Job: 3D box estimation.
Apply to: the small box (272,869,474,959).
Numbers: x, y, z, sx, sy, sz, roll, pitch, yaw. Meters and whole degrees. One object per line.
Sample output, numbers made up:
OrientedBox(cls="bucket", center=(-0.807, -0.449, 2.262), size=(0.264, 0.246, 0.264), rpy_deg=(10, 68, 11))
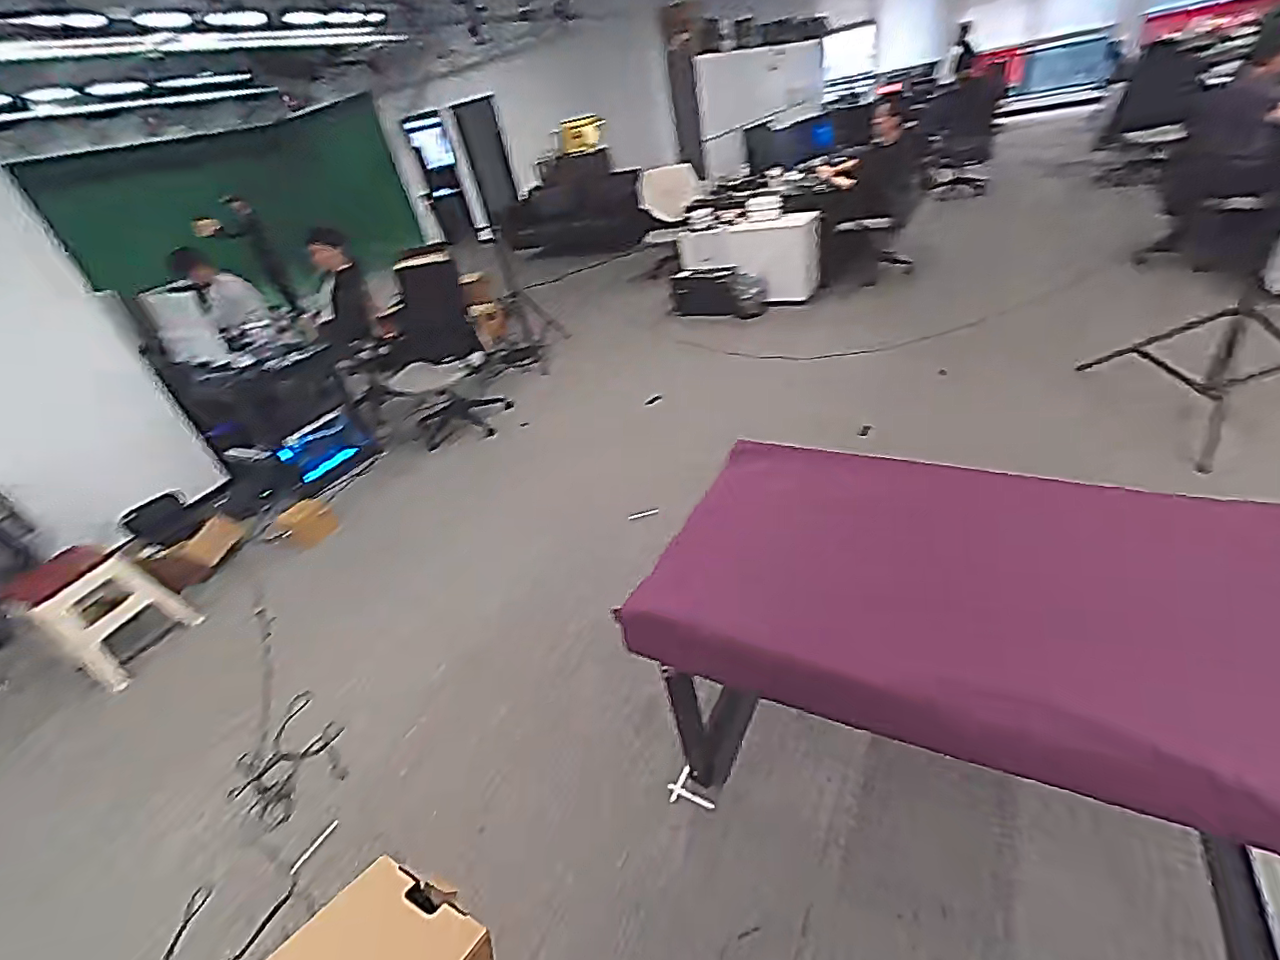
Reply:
OrientedBox(cls="small box", center=(-0.259, 0.528, 0.498), size=(0.168, 0.176, 0.179), rpy_deg=(6, 17, 29))
